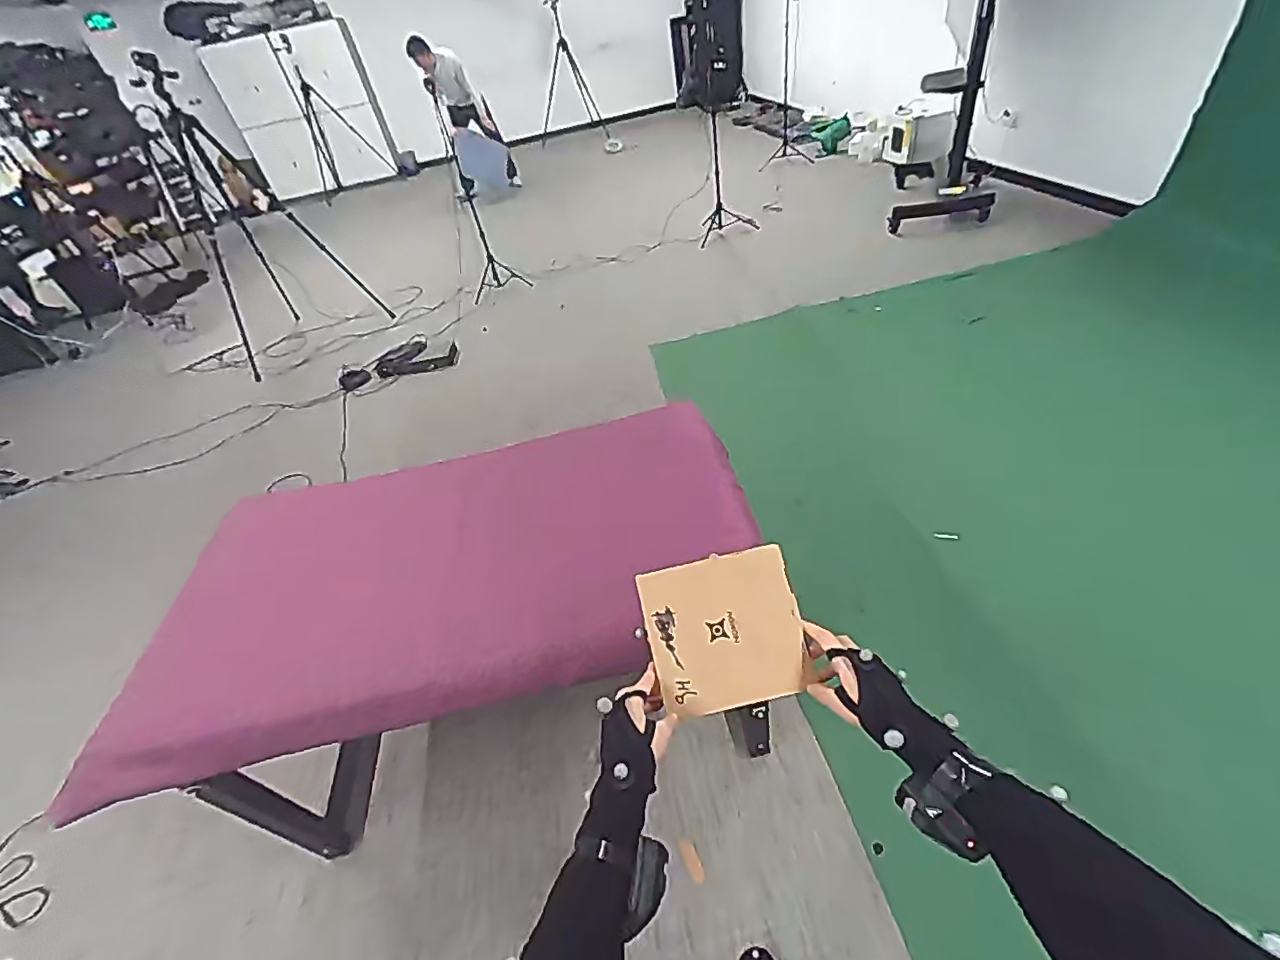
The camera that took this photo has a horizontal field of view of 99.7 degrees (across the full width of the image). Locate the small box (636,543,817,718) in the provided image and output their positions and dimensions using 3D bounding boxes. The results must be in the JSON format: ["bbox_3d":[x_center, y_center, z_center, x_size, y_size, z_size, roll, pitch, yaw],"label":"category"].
[{"bbox_3d":[0.098,0.188,0.690,0.179,0.176,0.168,-13,73,-1],"label":"small box"}]
